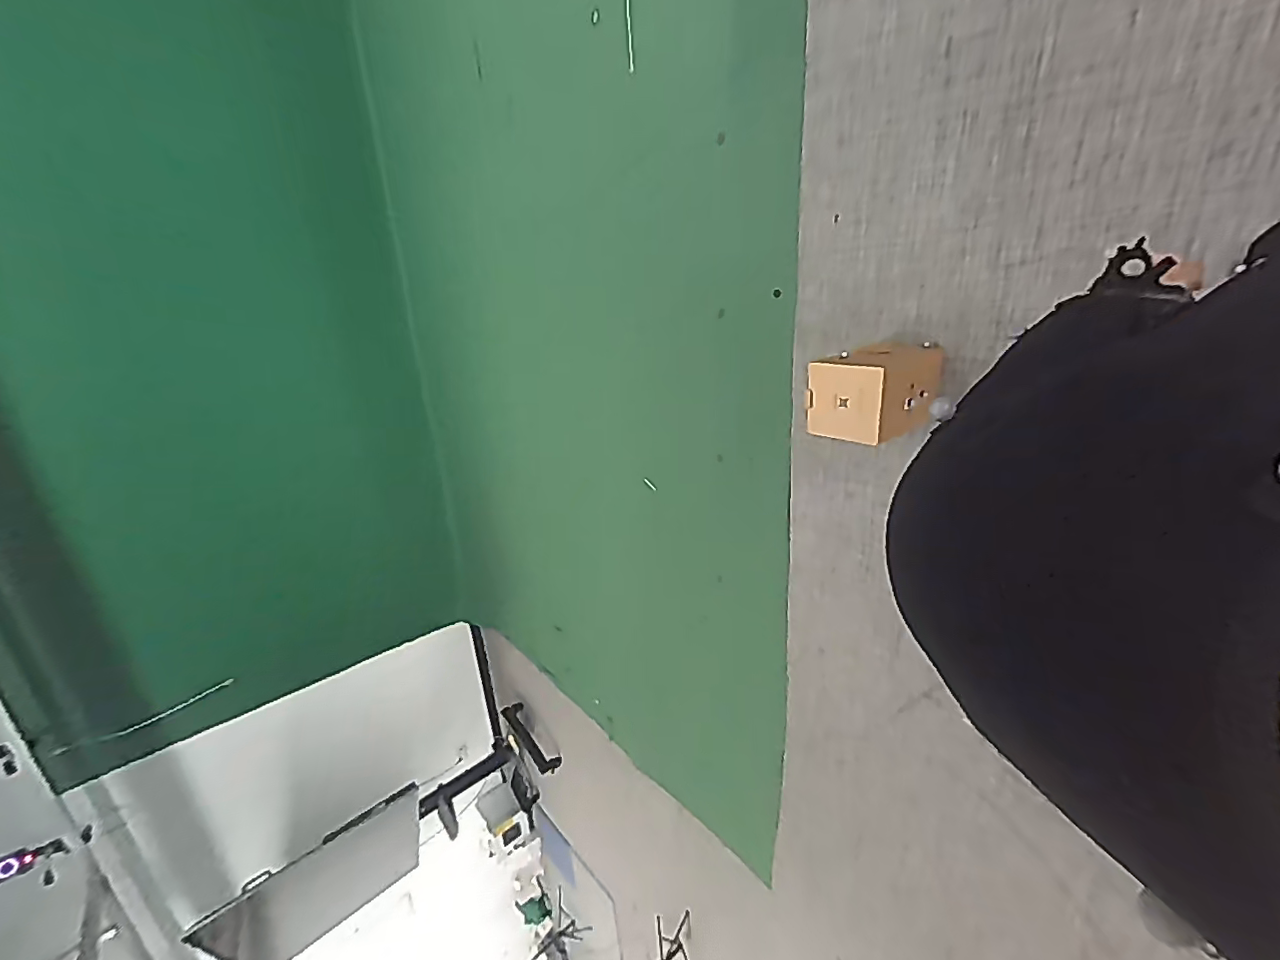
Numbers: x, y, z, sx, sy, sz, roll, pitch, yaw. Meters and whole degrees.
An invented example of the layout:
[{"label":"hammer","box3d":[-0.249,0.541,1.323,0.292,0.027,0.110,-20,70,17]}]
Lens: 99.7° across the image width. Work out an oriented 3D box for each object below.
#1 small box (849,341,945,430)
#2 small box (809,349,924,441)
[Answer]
[{"label":"small box","box3d":[0.617,-0.238,1.317,0.168,0.176,0.179,22,123,46]},{"label":"small box","box3d":[0.503,-0.196,1.208,0.179,0.176,0.168,17,120,47]}]
